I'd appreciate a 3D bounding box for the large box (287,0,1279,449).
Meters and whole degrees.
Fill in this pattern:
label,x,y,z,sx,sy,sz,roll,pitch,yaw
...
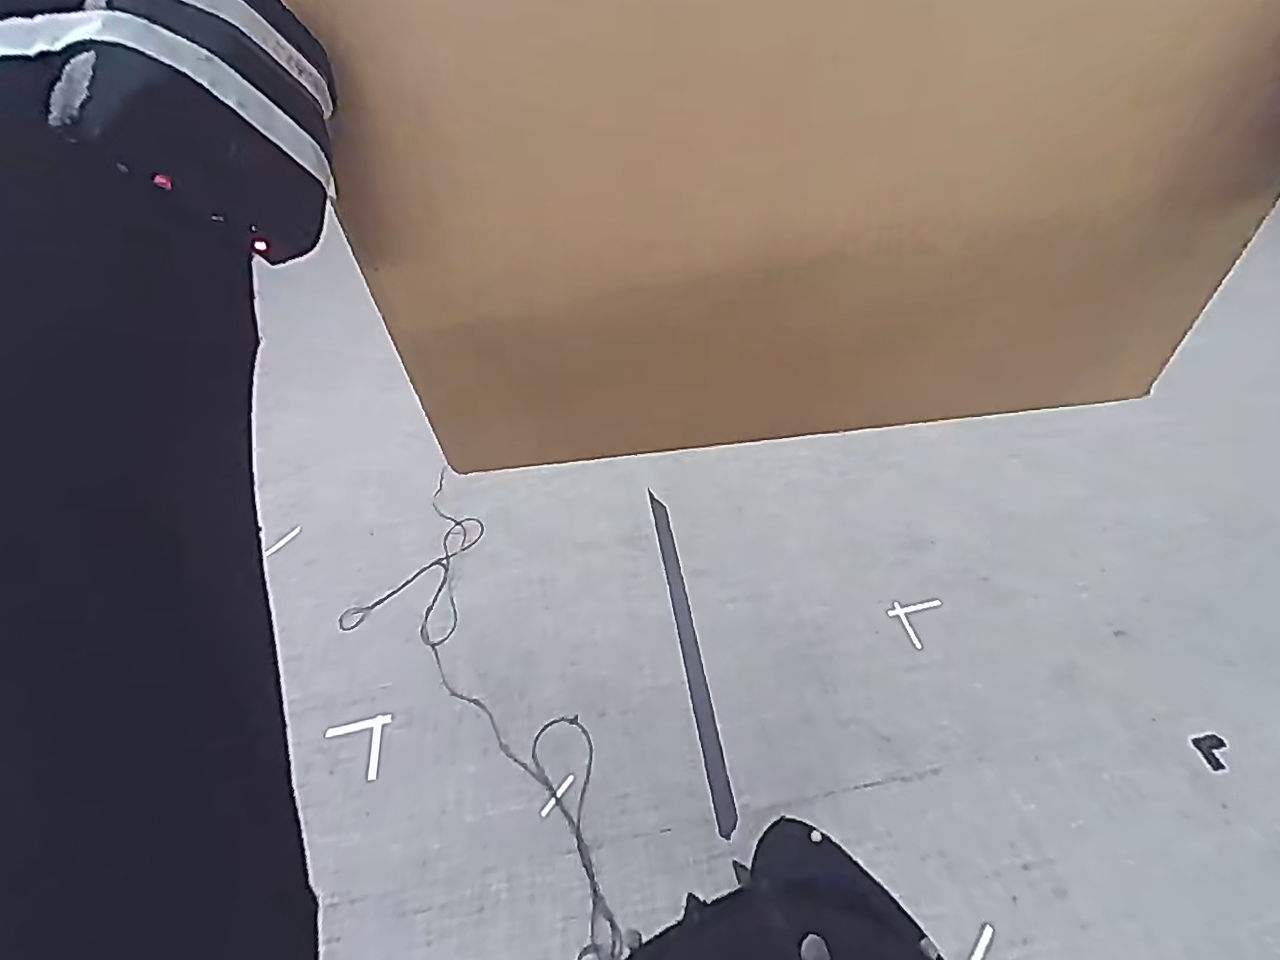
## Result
label,x,y,z,sx,sy,sz,roll,pitch,yaw
large box,0.064,-0.246,0.328,0.408,0.320,0.320,-6,44,-1
